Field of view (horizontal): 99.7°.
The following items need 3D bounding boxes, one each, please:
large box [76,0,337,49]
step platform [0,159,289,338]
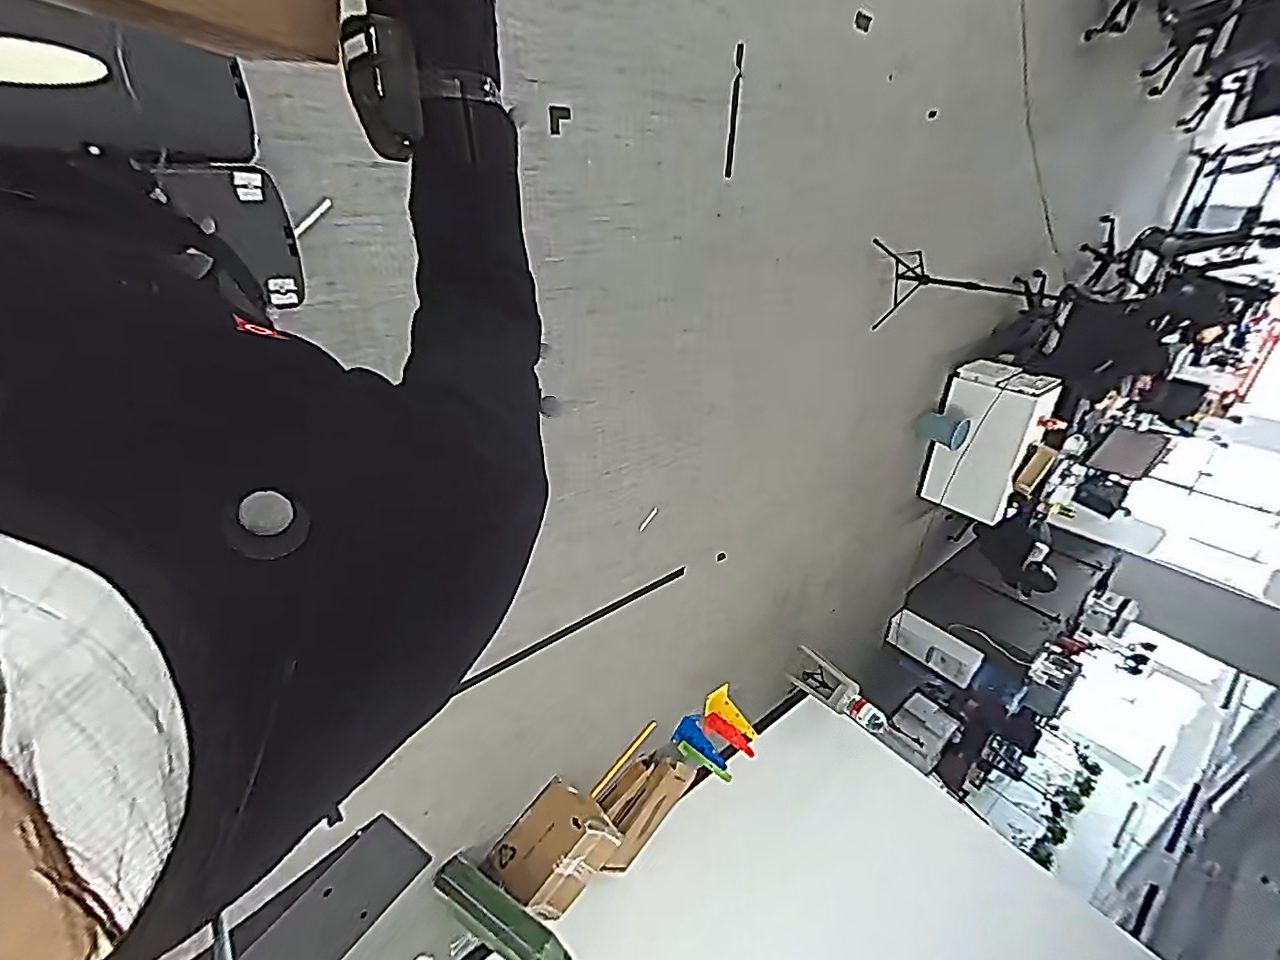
[{"bbox_3d":[-0.397,-0.440,0.232,0.408,0.320,0.320,-10,128,-40],"label":"large box"},{"bbox_3d":[-1.081,-0.446,1.031,0.684,0.204,0.286,-20,124,-31],"label":"step platform"}]
